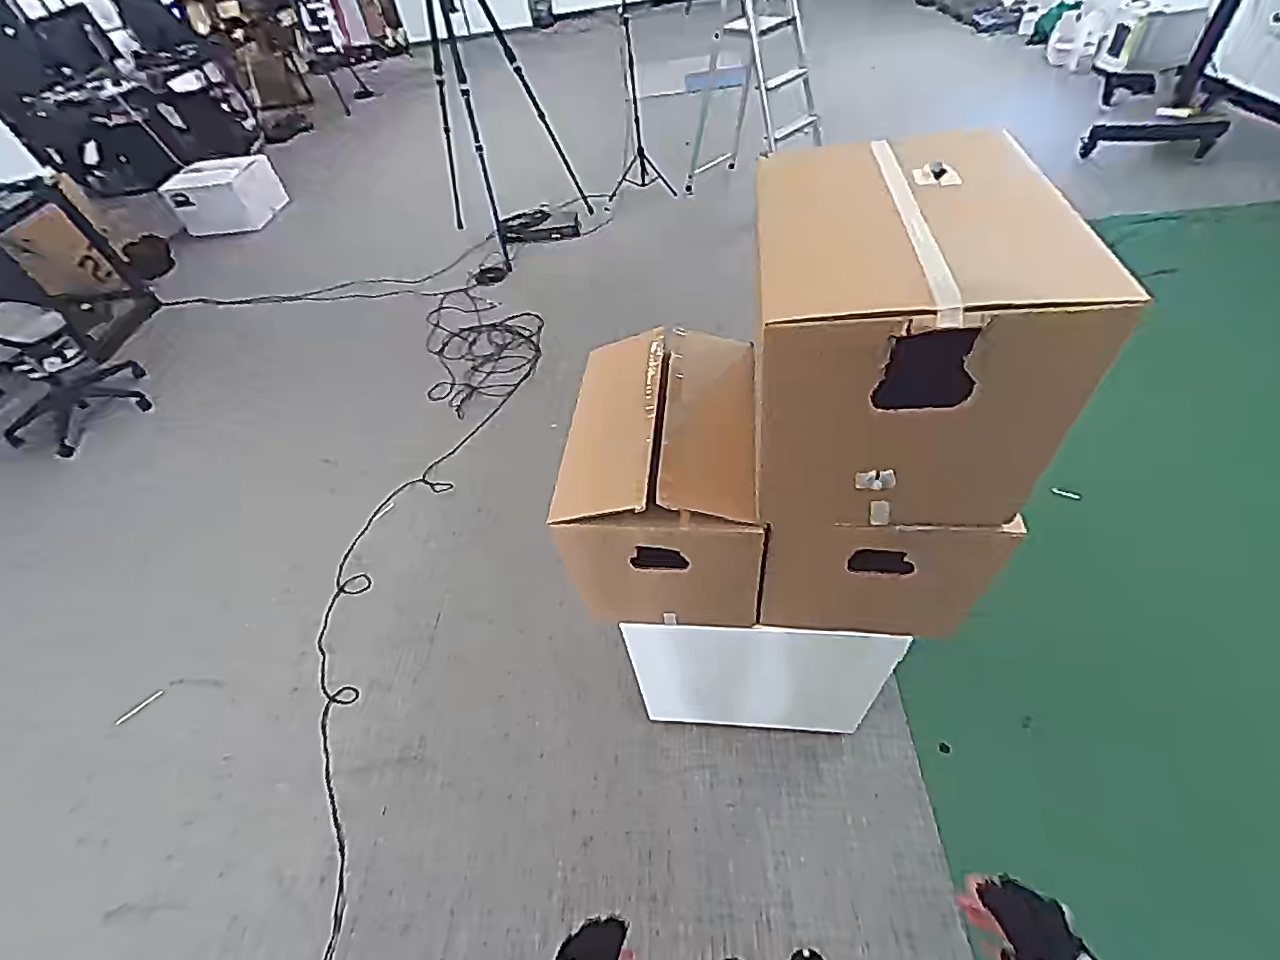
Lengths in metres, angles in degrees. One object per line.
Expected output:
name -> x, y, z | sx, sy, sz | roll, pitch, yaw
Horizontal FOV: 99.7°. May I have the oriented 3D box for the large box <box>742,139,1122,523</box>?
large box -> 0.300, -0.191, 0.712 | 0.320, 0.320, 0.408 | -1, 48, 11
